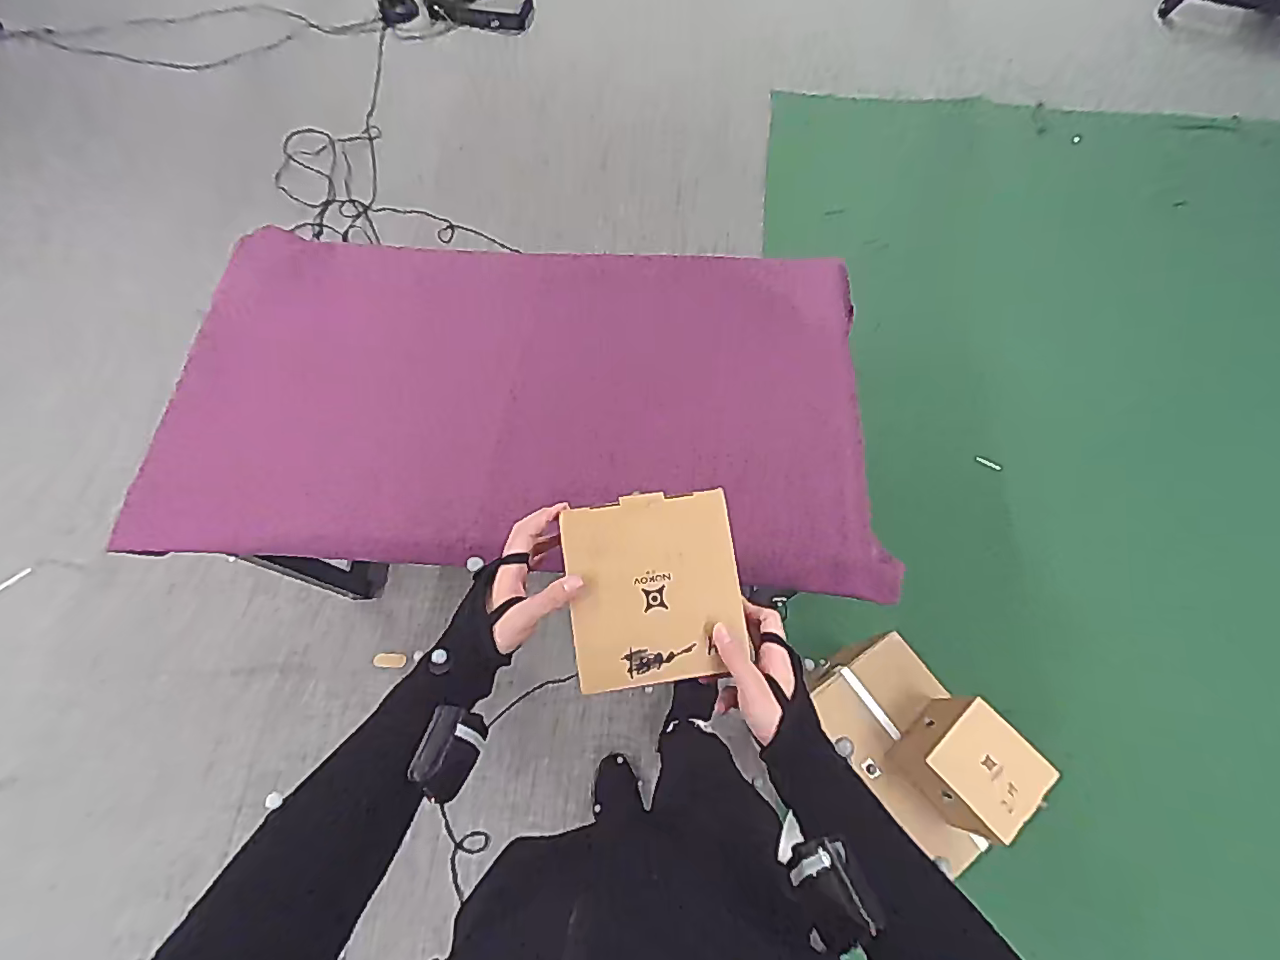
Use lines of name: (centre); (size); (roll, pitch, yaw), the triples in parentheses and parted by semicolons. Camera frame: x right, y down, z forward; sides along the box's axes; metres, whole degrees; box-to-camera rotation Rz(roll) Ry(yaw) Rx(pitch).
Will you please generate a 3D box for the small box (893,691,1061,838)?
small box: (0.625, 0.531, 1.028); (0.168, 0.176, 0.179); (-39, 73, -15)
